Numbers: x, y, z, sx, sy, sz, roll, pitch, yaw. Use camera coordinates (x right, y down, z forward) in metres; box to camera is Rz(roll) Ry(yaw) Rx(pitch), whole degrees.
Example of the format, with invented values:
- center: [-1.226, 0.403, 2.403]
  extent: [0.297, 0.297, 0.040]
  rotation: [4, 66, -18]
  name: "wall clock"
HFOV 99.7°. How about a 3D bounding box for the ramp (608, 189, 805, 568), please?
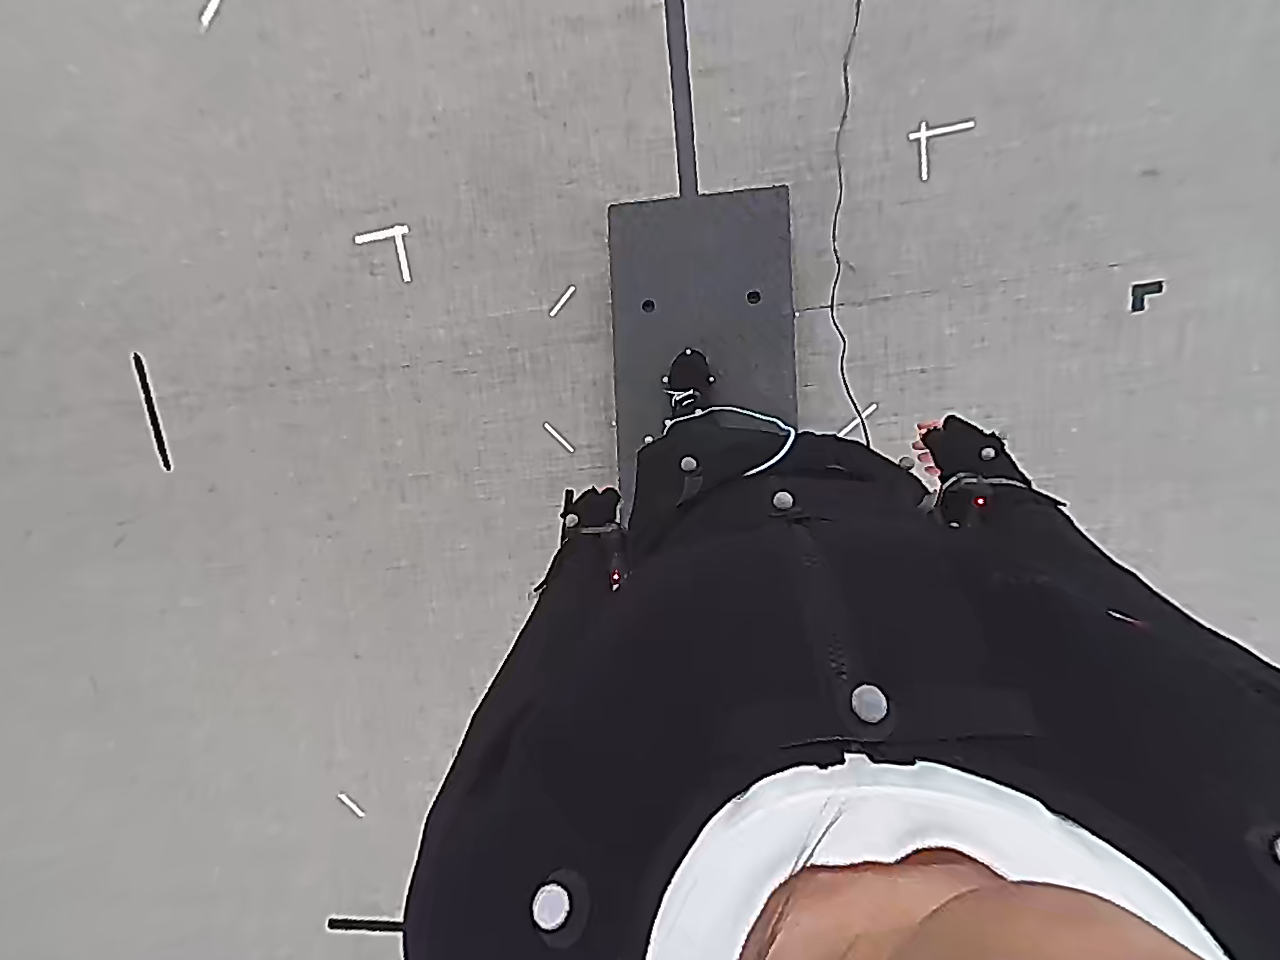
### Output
- center: [0.171, -0.265, 1.465]
  extent: [0.509, 0.206, 0.991]
  rotation: [-4, 99, 9]
  name: "ramp"
